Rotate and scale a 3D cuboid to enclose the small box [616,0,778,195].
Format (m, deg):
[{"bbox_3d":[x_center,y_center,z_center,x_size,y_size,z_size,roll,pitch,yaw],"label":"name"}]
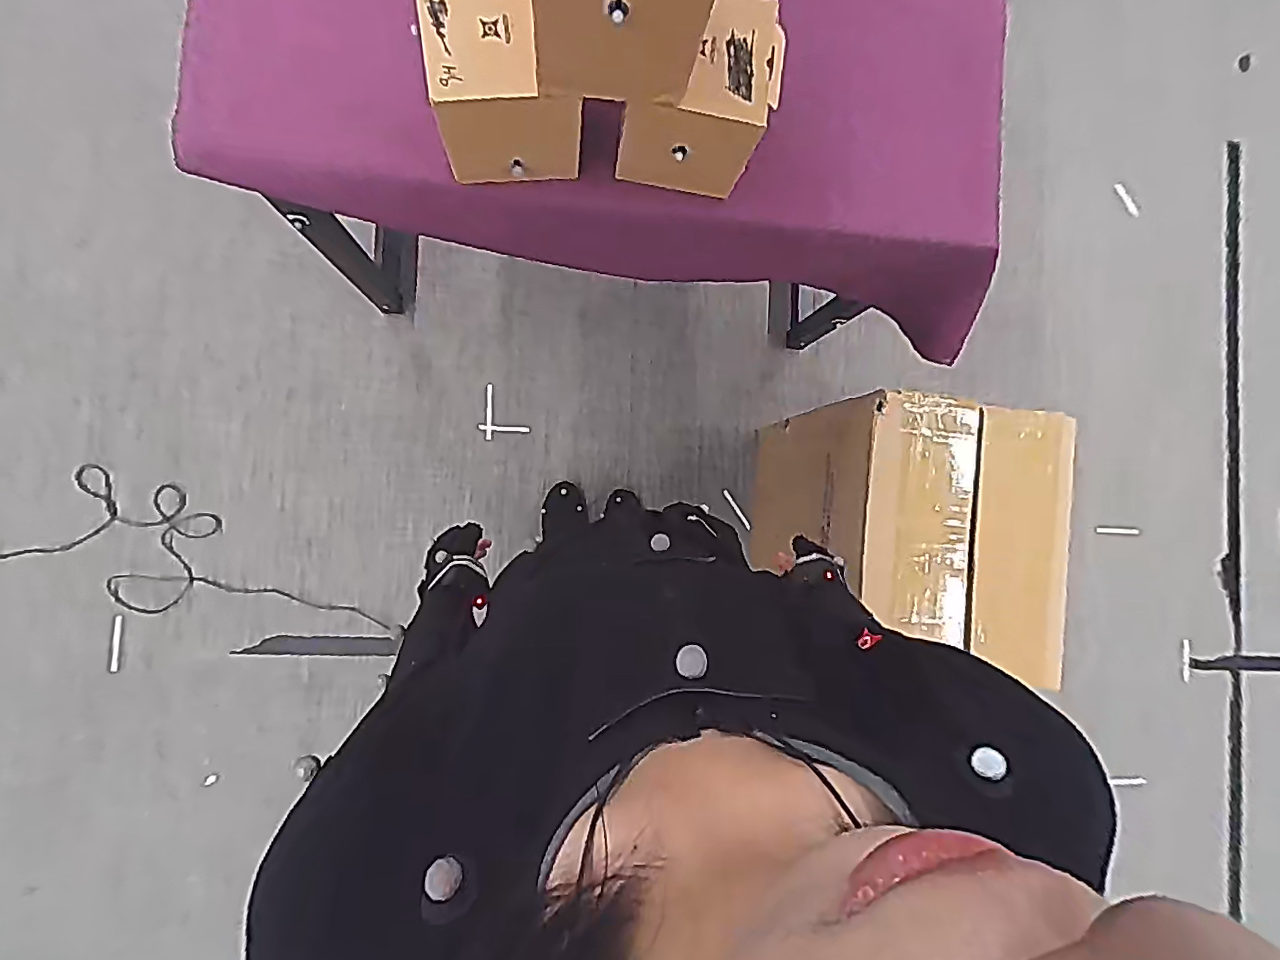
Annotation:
[{"bbox_3d":[0.069,-0.521,0.739,0.179,0.176,0.168,7,87,-7],"label":"small box"}]

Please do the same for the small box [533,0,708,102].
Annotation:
[{"bbox_3d":[-0.023,-0.534,0.563,0.179,0.176,0.168,-1,89,-9],"label":"small box"}]

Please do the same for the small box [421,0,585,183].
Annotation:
[{"bbox_3d":[-0.173,-0.515,0.706,0.179,0.176,0.168,-8,88,-10],"label":"small box"}]
